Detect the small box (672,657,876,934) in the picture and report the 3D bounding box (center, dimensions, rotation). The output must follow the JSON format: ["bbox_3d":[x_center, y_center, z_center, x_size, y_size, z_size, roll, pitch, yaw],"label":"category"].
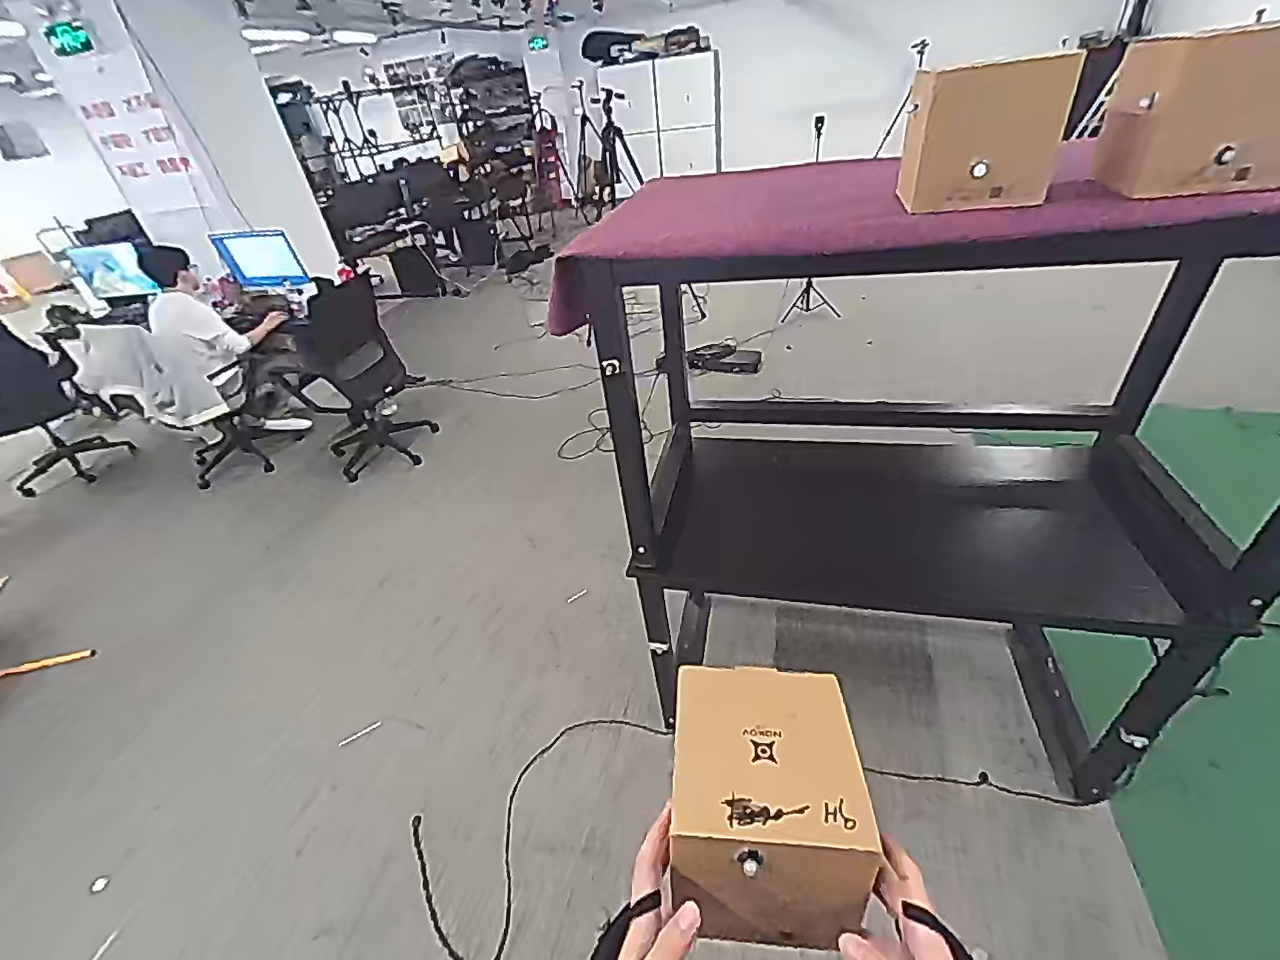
[{"bbox_3d":[0.119,0.307,0.545,0.168,0.176,0.179,0,28,7],"label":"small box"}]

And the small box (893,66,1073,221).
[{"bbox_3d":[0.474,-0.483,0.783,0.168,0.176,0.179,3,37,15],"label":"small box"}]
